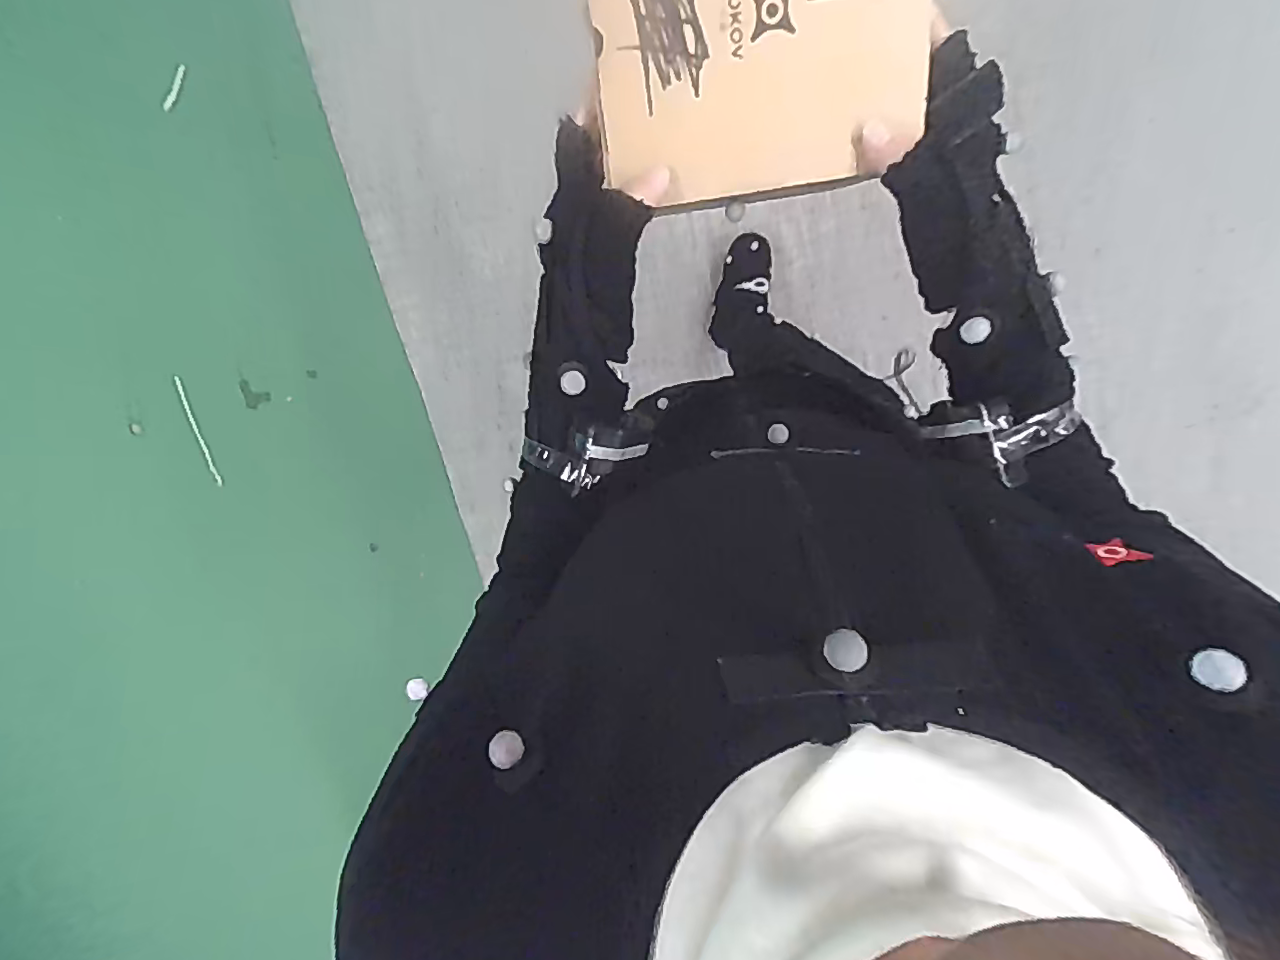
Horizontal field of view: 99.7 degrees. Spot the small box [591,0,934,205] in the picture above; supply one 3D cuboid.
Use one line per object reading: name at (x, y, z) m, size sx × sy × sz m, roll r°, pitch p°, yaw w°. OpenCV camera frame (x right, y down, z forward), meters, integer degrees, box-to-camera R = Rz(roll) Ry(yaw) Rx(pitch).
small box at (0.068, -0.284, 0.350) m, size 0.179 × 0.176 × 0.168 m, roll -6°, pitch 114°, yaw 7°
